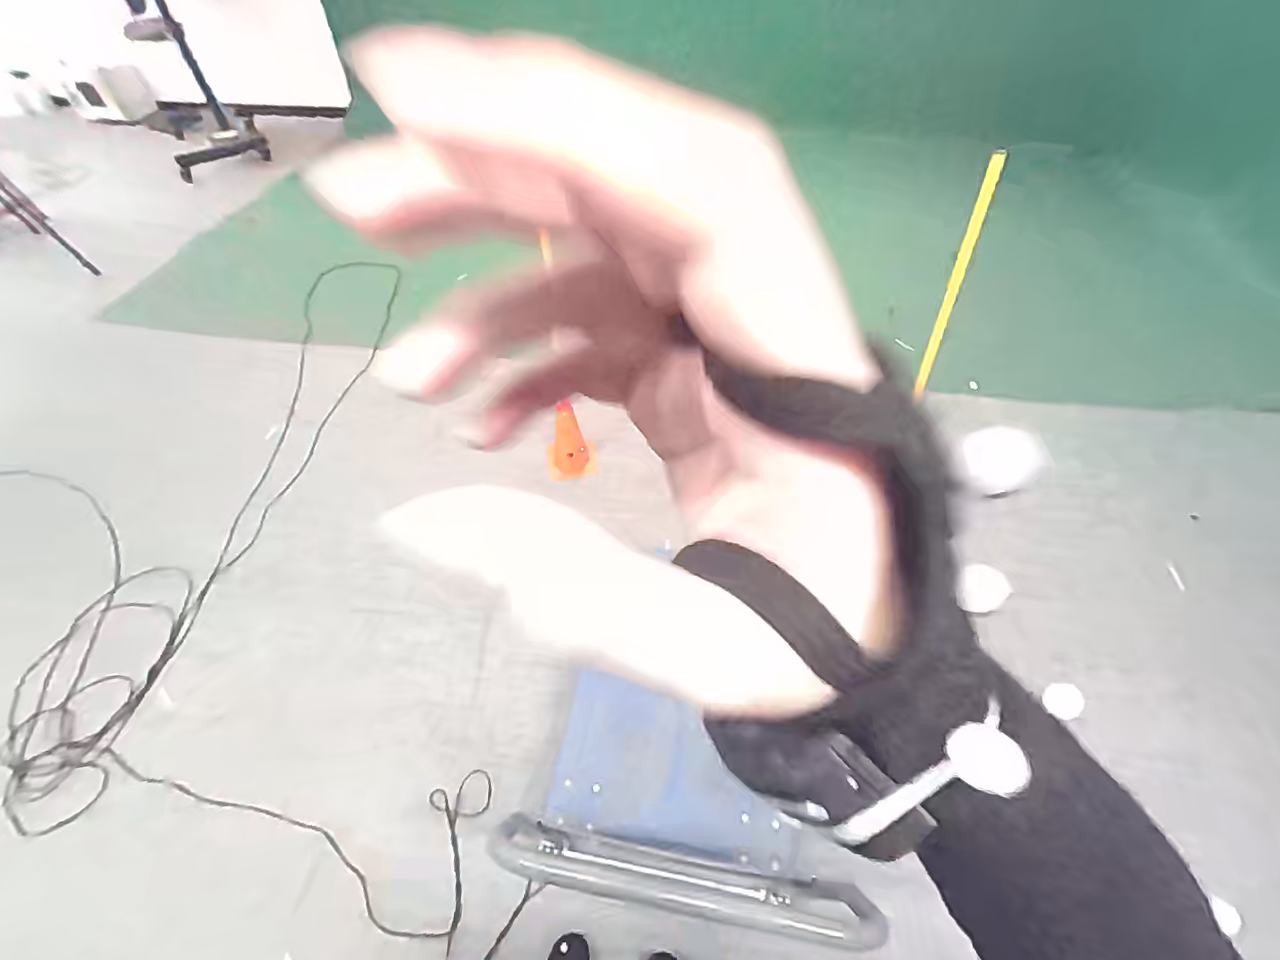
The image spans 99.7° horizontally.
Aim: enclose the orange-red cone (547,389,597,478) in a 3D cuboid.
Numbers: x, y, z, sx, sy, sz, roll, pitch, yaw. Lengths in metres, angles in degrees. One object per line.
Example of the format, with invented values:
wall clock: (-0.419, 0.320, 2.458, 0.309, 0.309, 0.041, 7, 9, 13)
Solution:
orange-red cone: (-0.277, -0.196, 2.040, 0.199, 0.360, 0.198, -7, 50, -4)
